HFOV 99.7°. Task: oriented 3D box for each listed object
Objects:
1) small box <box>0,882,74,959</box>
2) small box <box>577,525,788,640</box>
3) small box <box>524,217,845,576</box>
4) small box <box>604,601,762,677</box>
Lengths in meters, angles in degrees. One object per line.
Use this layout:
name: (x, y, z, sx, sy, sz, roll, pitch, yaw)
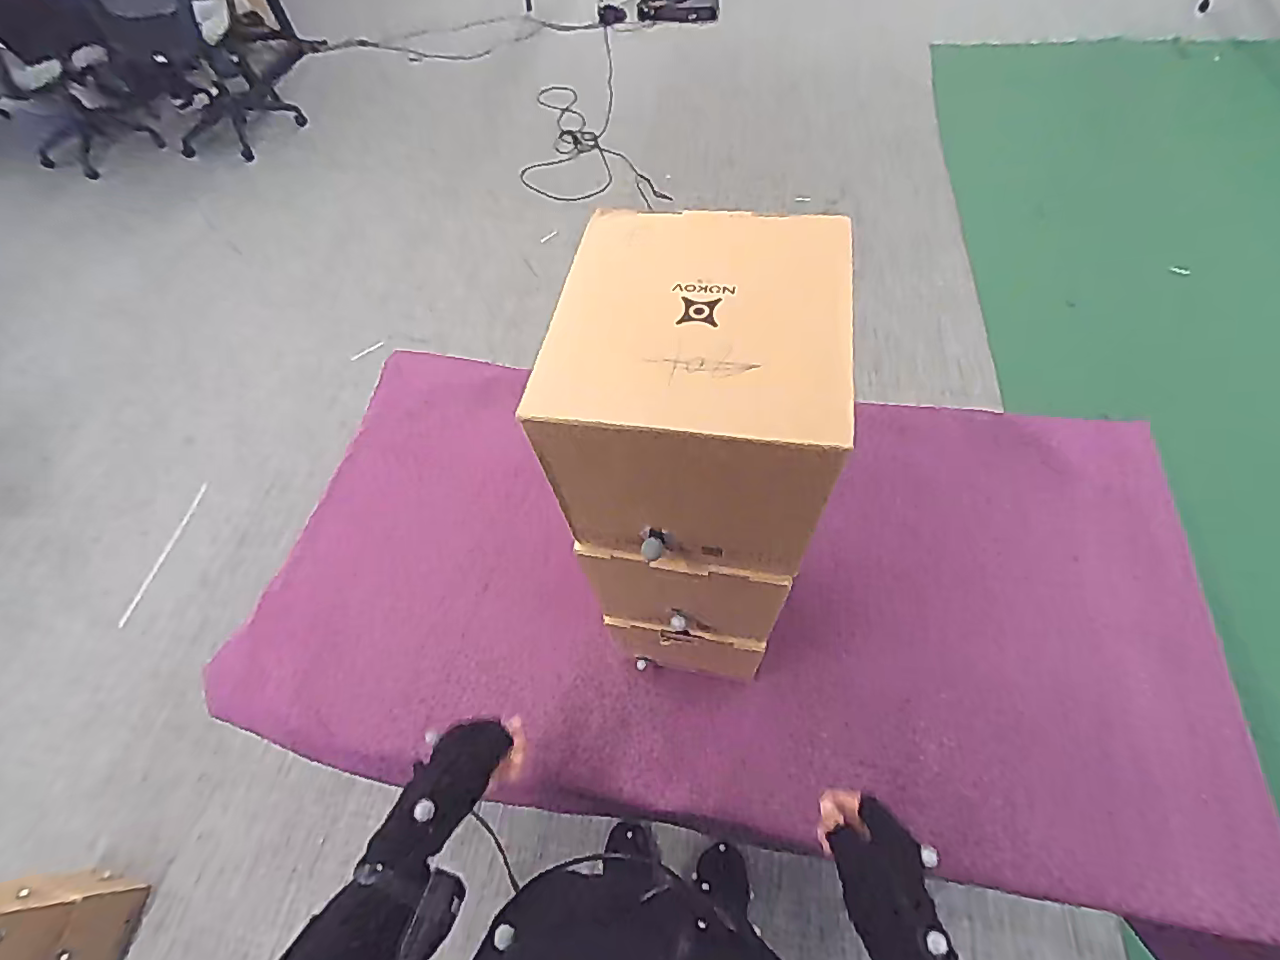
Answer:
small box: (-1.229, 0.869, 0.993, 0.168, 0.176, 0.179, 5, 59, 8)
small box: (0.052, 0.034, 0.518, 0.168, 0.176, 0.179, 7, 61, 10)
small box: (0.040, -0.053, 0.381, 0.168, 0.176, 0.179, 7, 60, 10)
small box: (0.066, 0.125, 0.654, 0.168, 0.176, 0.179, 8, 60, 10)
